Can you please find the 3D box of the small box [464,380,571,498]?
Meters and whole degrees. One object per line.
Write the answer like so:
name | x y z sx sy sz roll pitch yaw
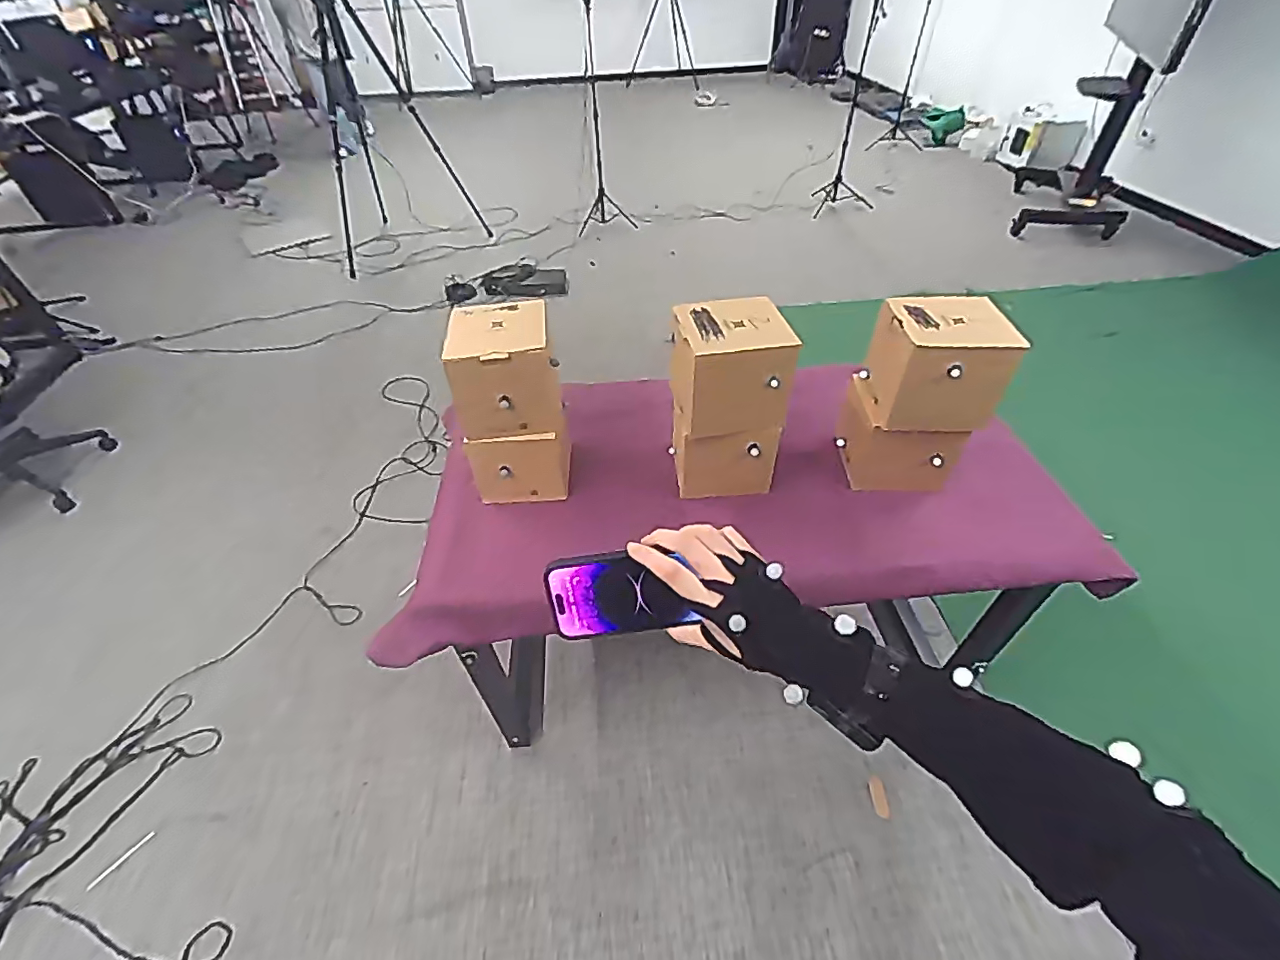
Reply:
small box | -0.232 -0.075 1.073 0.168 0.176 0.179 -3 45 0

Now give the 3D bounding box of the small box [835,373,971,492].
small box | 0.499 -0.091 1.056 0.179 0.176 0.168 1 45 4

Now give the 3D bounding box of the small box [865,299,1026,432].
small box | 0.504 -0.196 0.930 0.179 0.176 0.168 1 45 3

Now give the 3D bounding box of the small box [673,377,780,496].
small box | 0.159 -0.083 1.061 0.179 0.176 0.168 -3 45 0

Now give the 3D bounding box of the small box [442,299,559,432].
small box | -0.237 -0.197 0.962 0.168 0.176 0.179 -6 46 -4
